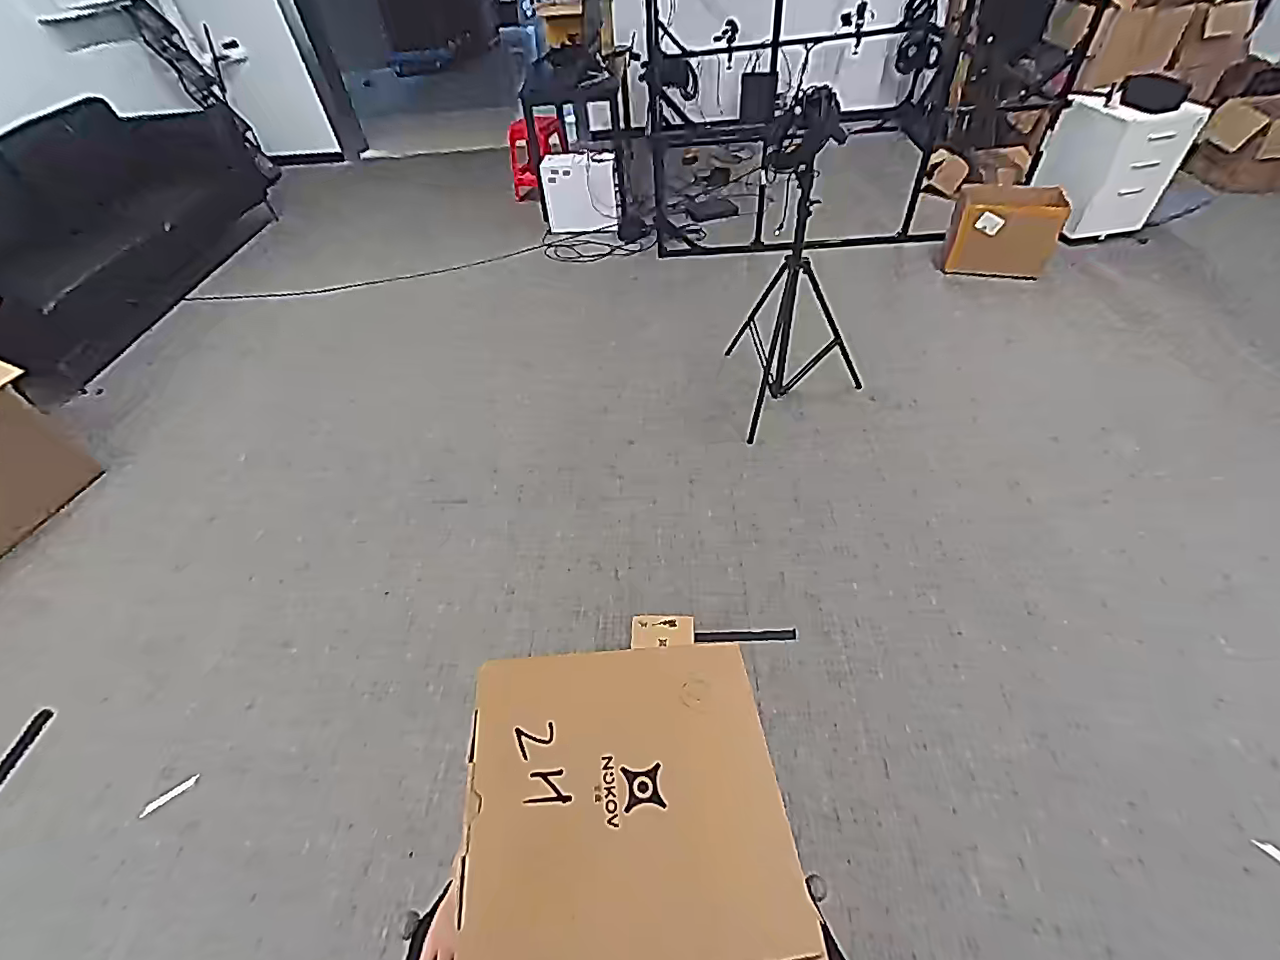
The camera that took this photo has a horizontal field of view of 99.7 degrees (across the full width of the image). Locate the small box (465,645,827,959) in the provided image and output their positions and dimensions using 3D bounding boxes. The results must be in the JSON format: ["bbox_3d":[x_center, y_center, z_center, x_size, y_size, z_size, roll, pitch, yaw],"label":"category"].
[{"bbox_3d":[-0.011,0.229,0.359,0.179,0.176,0.168,-2,45,-9],"label":"small box"}]

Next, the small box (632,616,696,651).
[{"bbox_3d":[0.067,0.485,1.456,0.168,0.176,0.179,-1,48,5],"label":"small box"}]
